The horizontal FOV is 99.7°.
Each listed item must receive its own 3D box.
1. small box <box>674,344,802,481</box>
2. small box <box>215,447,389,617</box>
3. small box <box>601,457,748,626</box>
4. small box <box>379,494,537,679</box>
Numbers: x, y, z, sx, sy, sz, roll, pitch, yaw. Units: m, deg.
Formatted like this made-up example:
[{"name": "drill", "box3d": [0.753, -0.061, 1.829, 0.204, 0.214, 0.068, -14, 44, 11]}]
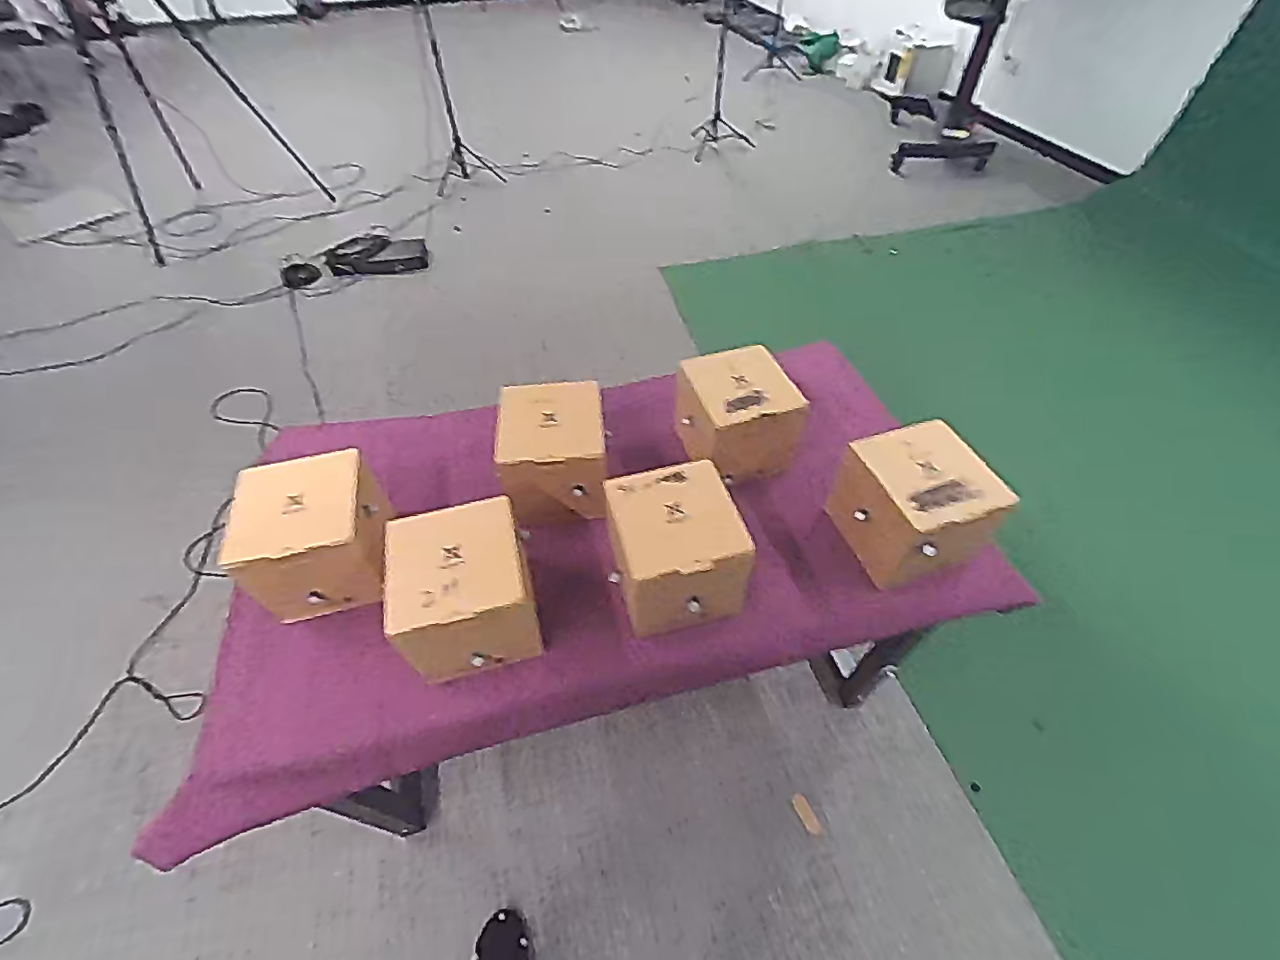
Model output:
[{"name": "small box", "box3d": [0.166, -0.115, 0.976, 0.168, 0.176, 0.179, -14, 50, -11]}, {"name": "small box", "box3d": [-0.491, 0.079, 0.821, 0.168, 0.176, 0.179, -12, 52, -10]}, {"name": "small box", "box3d": [0.044, 0.098, 0.799, 0.168, 0.176, 0.179, -12, 50, -9]}, {"name": "small box", "box3d": [-0.247, 0.150, 0.758, 0.168, 0.176, 0.179, -13, 51, -9]}]
